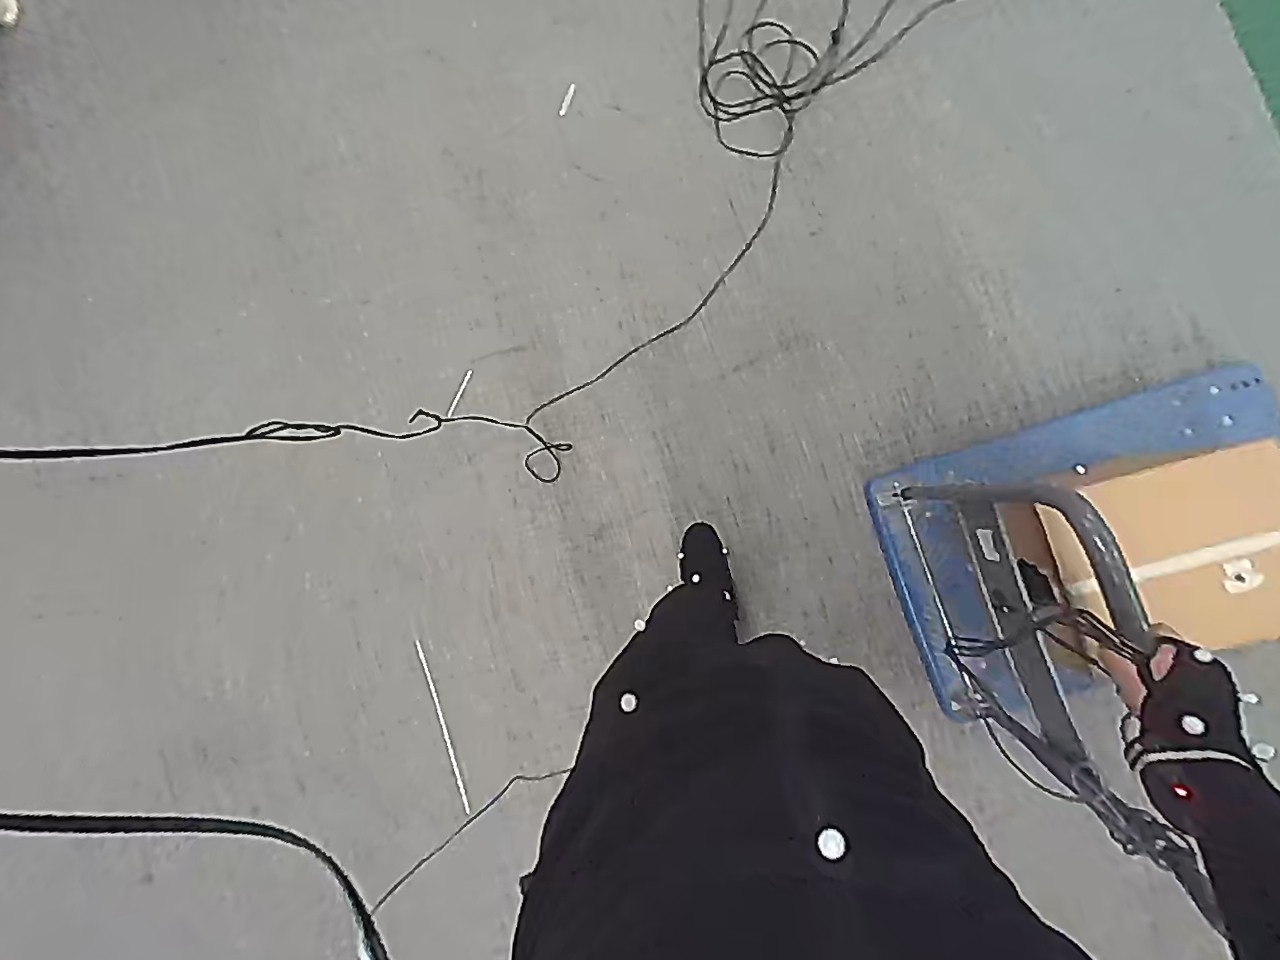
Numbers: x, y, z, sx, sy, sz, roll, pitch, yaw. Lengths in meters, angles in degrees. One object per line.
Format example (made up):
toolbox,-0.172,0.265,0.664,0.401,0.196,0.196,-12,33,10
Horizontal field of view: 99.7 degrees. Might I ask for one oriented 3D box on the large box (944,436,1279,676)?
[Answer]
large box,0.900,0.138,1.050,0.408,0.320,0.320,-16,86,4
